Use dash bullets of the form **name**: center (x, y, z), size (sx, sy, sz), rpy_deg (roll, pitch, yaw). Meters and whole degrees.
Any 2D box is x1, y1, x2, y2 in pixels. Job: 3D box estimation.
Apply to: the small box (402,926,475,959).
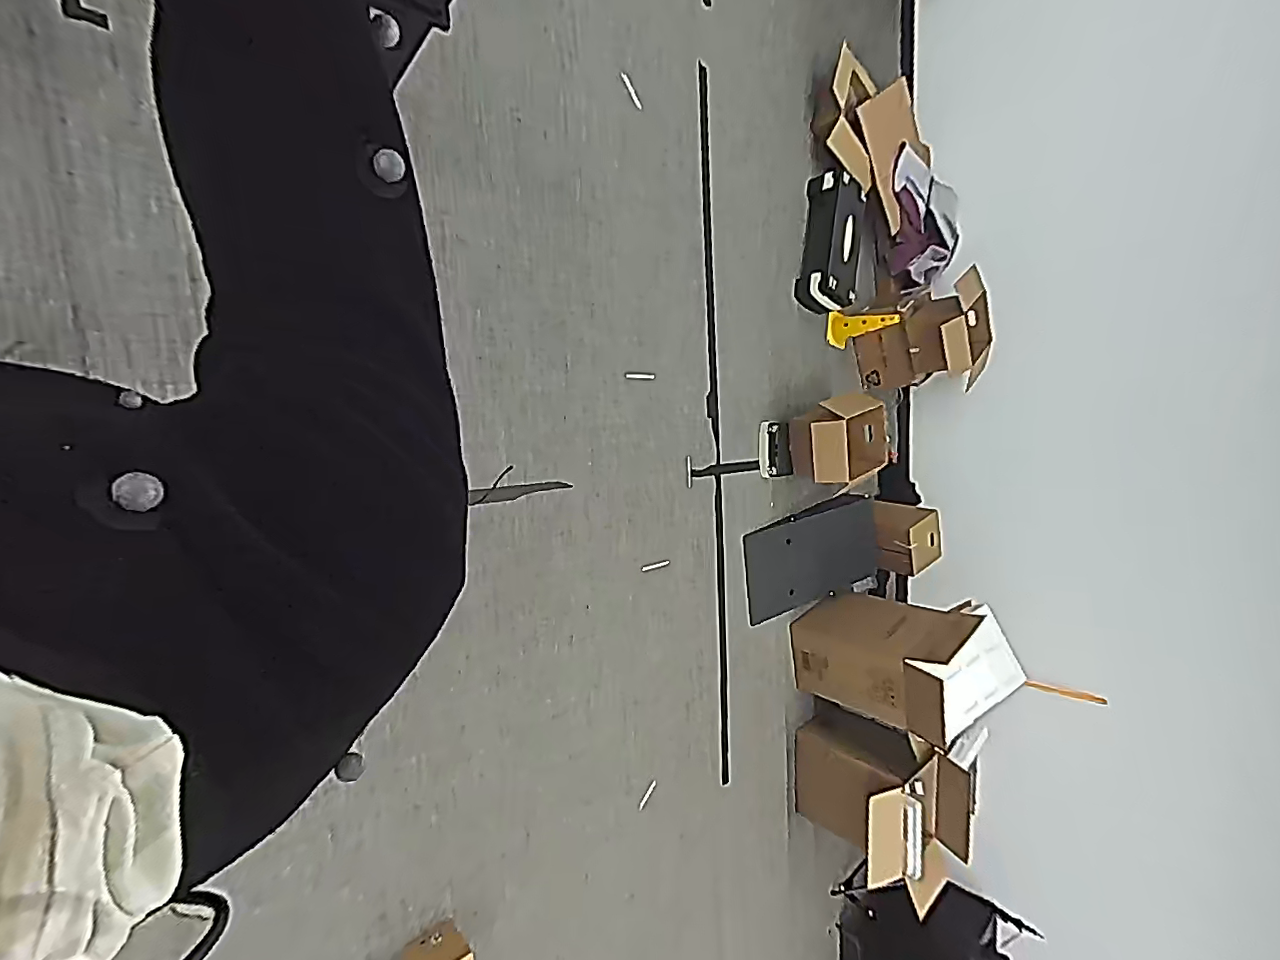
- **small box**: center (-0.621, 1.550, 1.670), size (0.168, 0.176, 0.179), rpy_deg (-5, 96, -43)
